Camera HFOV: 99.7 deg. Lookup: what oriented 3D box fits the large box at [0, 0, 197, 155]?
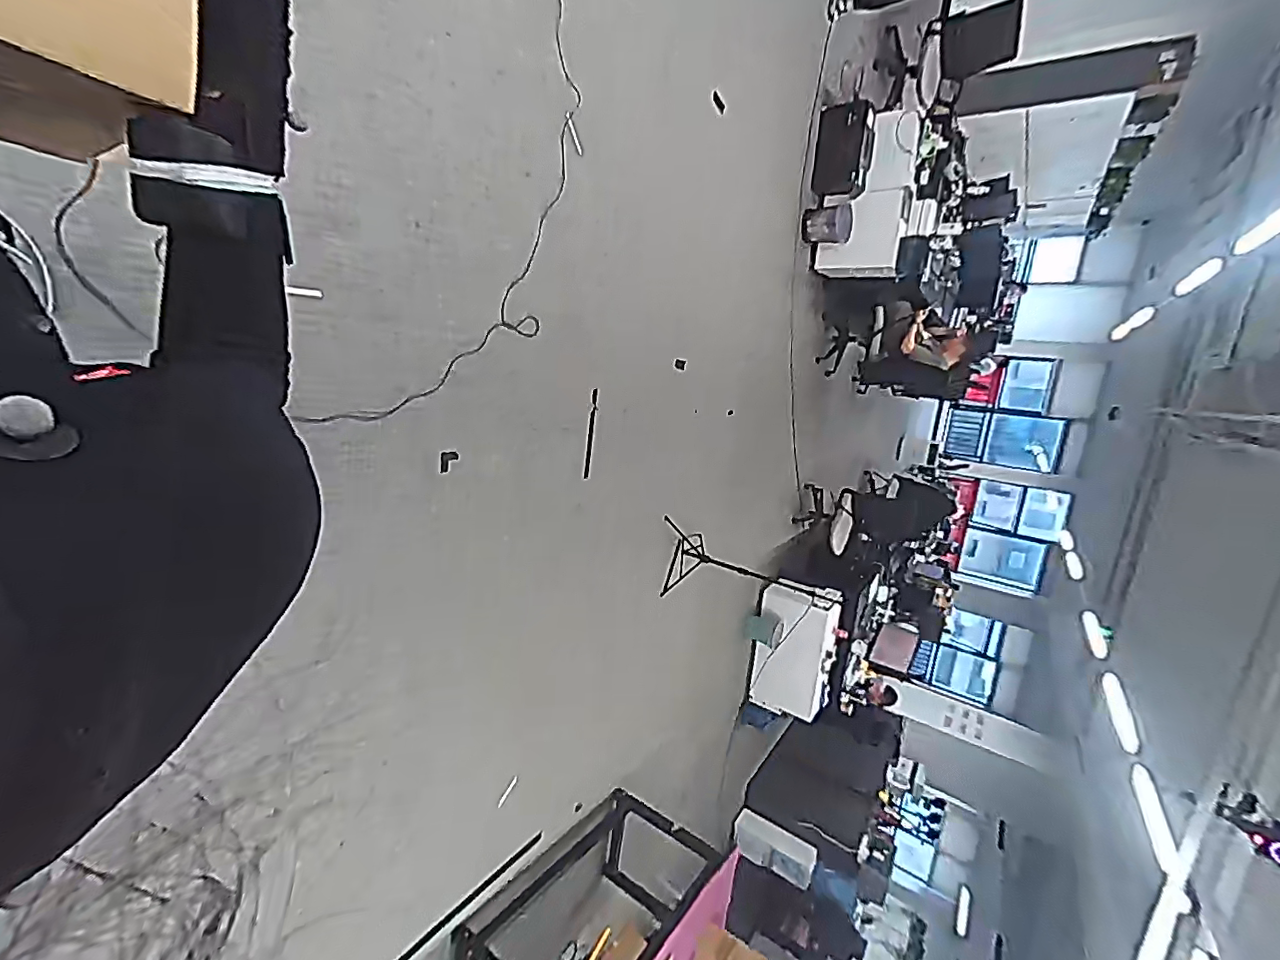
[{"bbox_3d":[-0.495,-0.401,0.236,0.408,0.320,0.320,-5,109,-55],"label":"large box"}]
